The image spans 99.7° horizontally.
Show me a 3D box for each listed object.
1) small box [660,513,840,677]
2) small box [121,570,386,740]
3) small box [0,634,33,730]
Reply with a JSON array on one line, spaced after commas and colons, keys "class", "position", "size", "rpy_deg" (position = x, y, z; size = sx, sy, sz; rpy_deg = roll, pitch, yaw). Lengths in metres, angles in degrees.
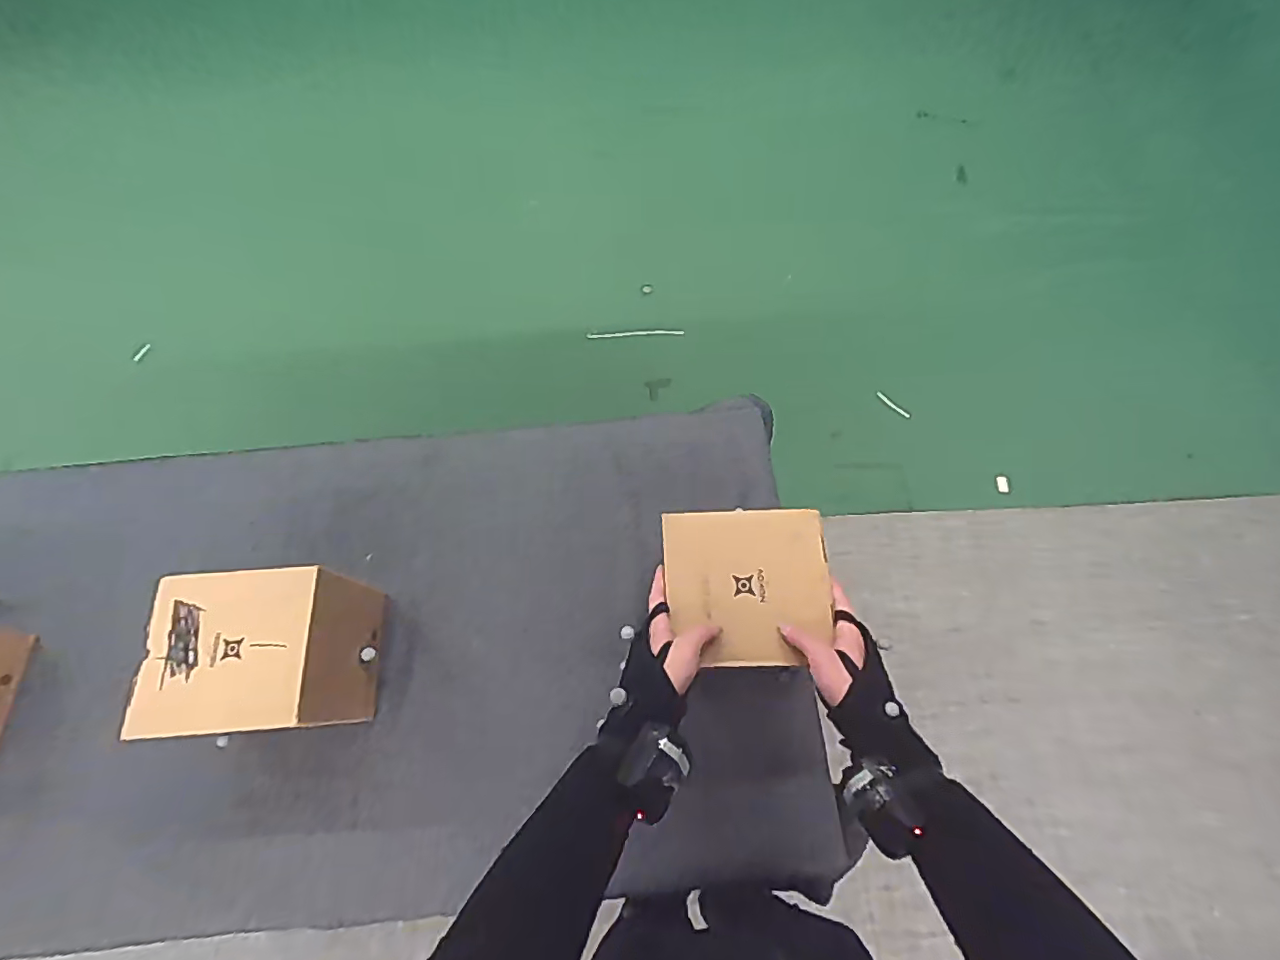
[{"class": "small box", "position": [0.115, 0.143, 0.640], "size": [0.179, 0.176, 0.168], "rpy_deg": [-3, 69, 3]}, {"class": "small box", "position": [-0.432, 0.209, 0.639], "size": [0.179, 0.176, 0.168], "rpy_deg": [-4, 69, -1]}, {"class": "small box", "position": [-0.896, 0.263, 0.630], "size": [0.179, 0.176, 0.168], "rpy_deg": [-3, 68, -1]}]
